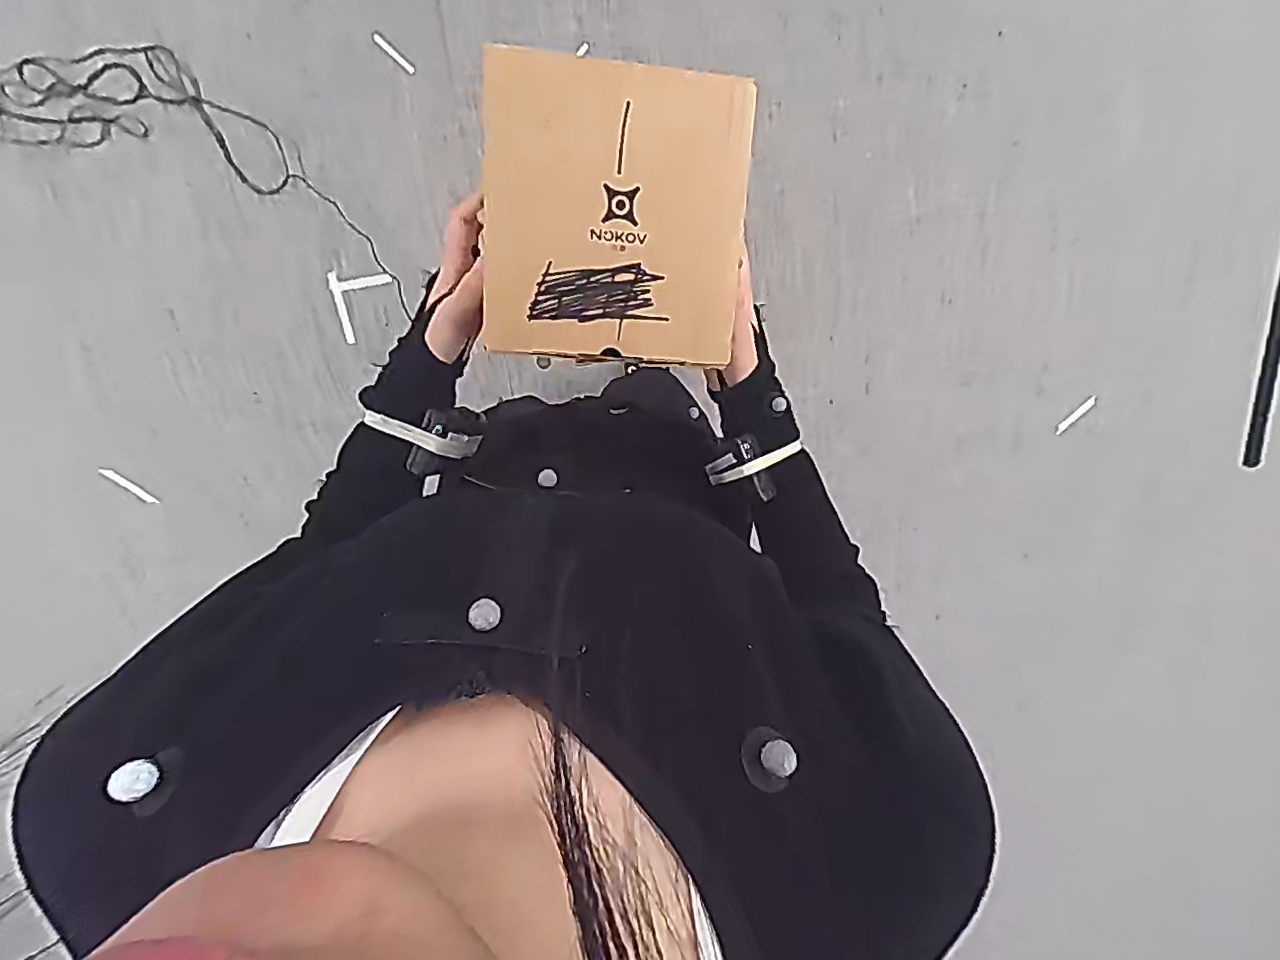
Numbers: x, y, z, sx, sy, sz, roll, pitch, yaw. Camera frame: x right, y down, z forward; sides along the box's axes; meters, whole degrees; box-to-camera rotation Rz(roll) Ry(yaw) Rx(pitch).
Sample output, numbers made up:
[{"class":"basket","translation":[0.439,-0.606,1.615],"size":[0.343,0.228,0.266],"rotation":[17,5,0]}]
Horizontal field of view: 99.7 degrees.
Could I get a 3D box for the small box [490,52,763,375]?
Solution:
[{"class":"small box","translation":[-0.020,-0.179,0.419],"size":[0.168,0.176,0.179],"rotation":[2,103,-8]}]
